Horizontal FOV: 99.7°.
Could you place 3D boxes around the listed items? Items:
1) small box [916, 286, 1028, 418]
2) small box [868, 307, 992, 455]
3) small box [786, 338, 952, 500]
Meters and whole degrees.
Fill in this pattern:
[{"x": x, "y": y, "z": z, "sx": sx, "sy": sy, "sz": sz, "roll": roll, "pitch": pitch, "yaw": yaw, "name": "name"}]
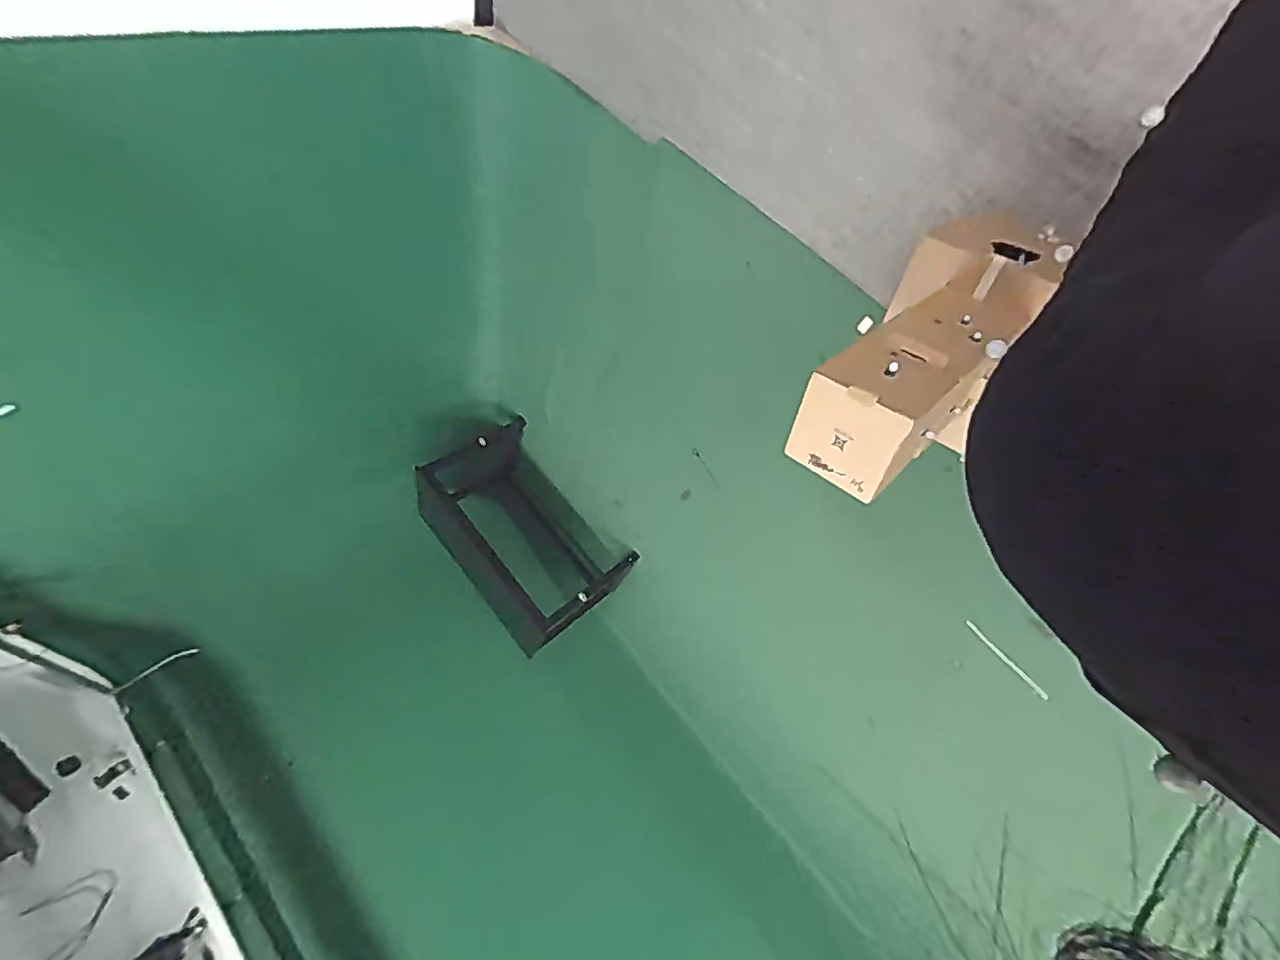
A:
[{"x": 0.609, "y": -0.256, "z": 1.056, "sx": 0.179, "sy": 0.176, "sz": 0.168, "roll": 38, "pitch": 143, "yaw": 27, "name": "small box"}, {"x": 0.491, "y": -0.184, "z": 0.967, "sx": 0.168, "sy": 0.176, "sz": 0.179, "roll": 37, "pitch": 143, "yaw": 28, "name": "small box"}, {"x": 0.374, "y": -0.107, "z": 0.882, "sx": 0.168, "sy": 0.176, "sz": 0.179, "roll": 38, "pitch": 142, "yaw": 27, "name": "small box"}]
